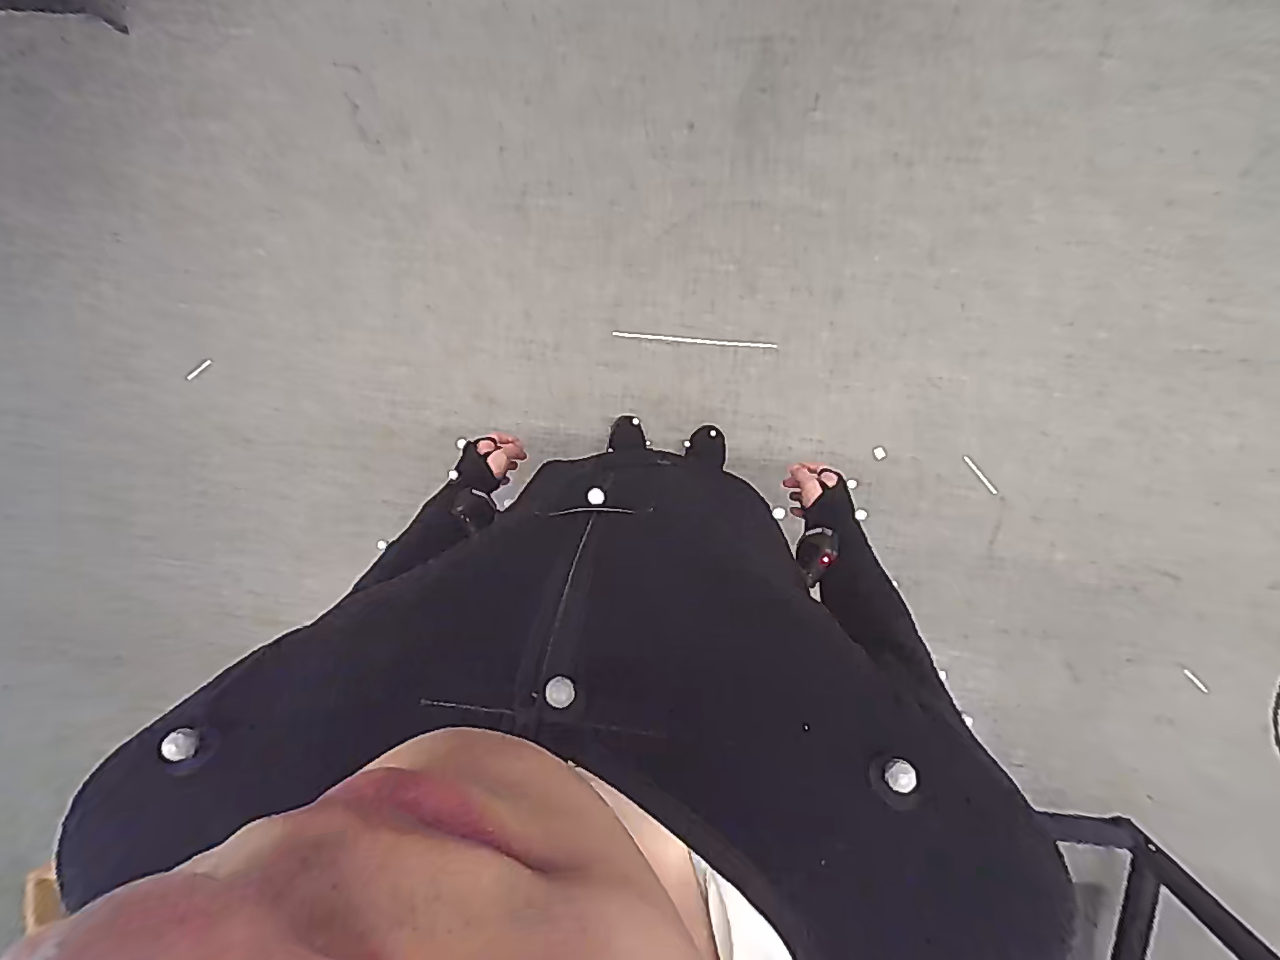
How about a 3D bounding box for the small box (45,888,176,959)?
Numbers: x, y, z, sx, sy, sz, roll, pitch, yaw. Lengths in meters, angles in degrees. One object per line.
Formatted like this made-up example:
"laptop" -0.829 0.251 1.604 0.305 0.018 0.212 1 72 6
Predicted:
"small box" -1.330 1.178 1.363 0.179 0.176 0.168 8 98 3
